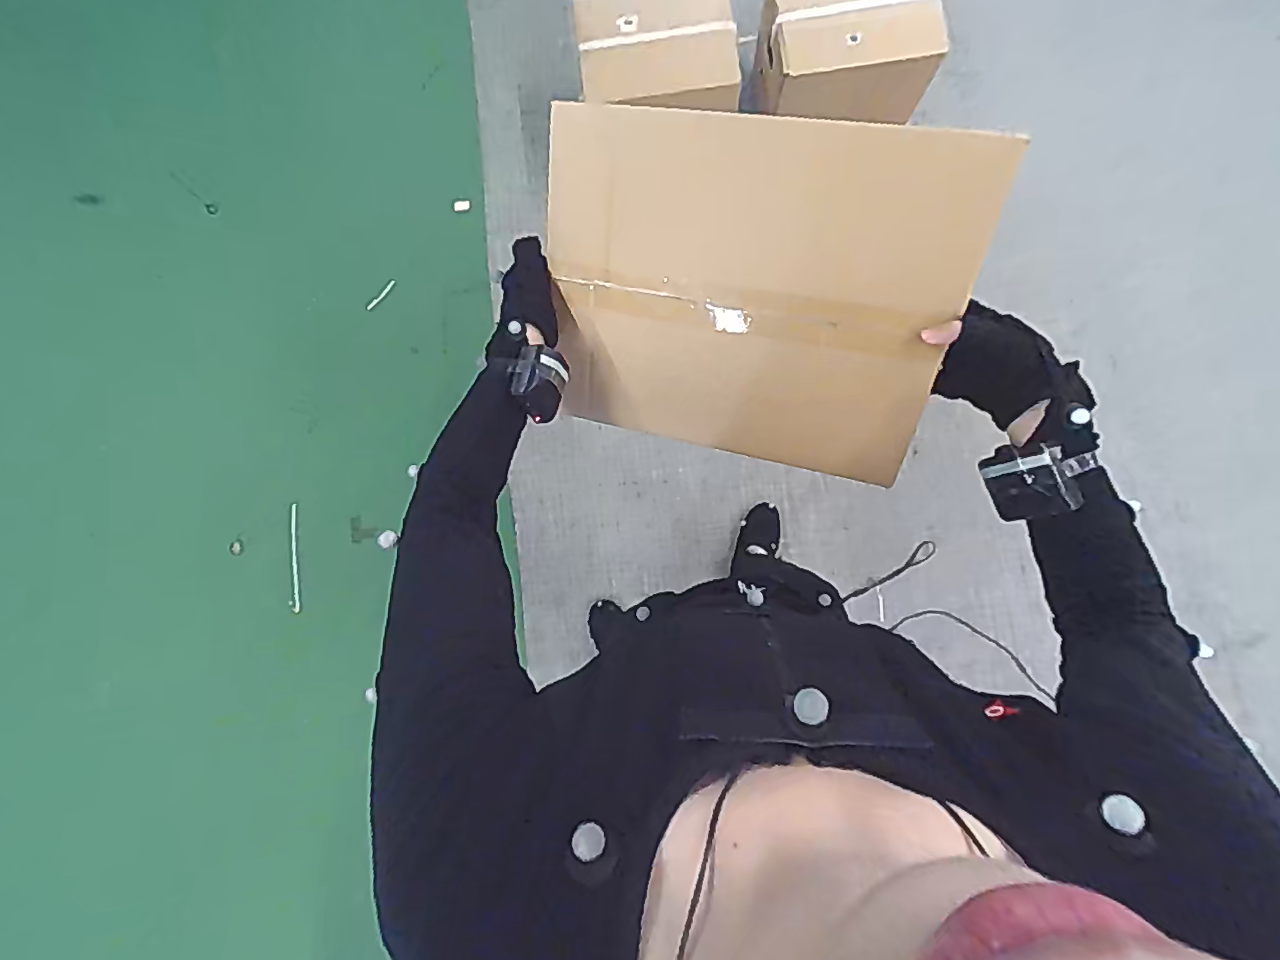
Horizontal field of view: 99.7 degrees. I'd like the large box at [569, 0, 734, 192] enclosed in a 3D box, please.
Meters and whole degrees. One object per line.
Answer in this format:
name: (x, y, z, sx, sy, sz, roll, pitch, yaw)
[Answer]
large box: (0.037, -1.080, 1.540, 0.408, 0.320, 0.320, -6, 82, 3)
